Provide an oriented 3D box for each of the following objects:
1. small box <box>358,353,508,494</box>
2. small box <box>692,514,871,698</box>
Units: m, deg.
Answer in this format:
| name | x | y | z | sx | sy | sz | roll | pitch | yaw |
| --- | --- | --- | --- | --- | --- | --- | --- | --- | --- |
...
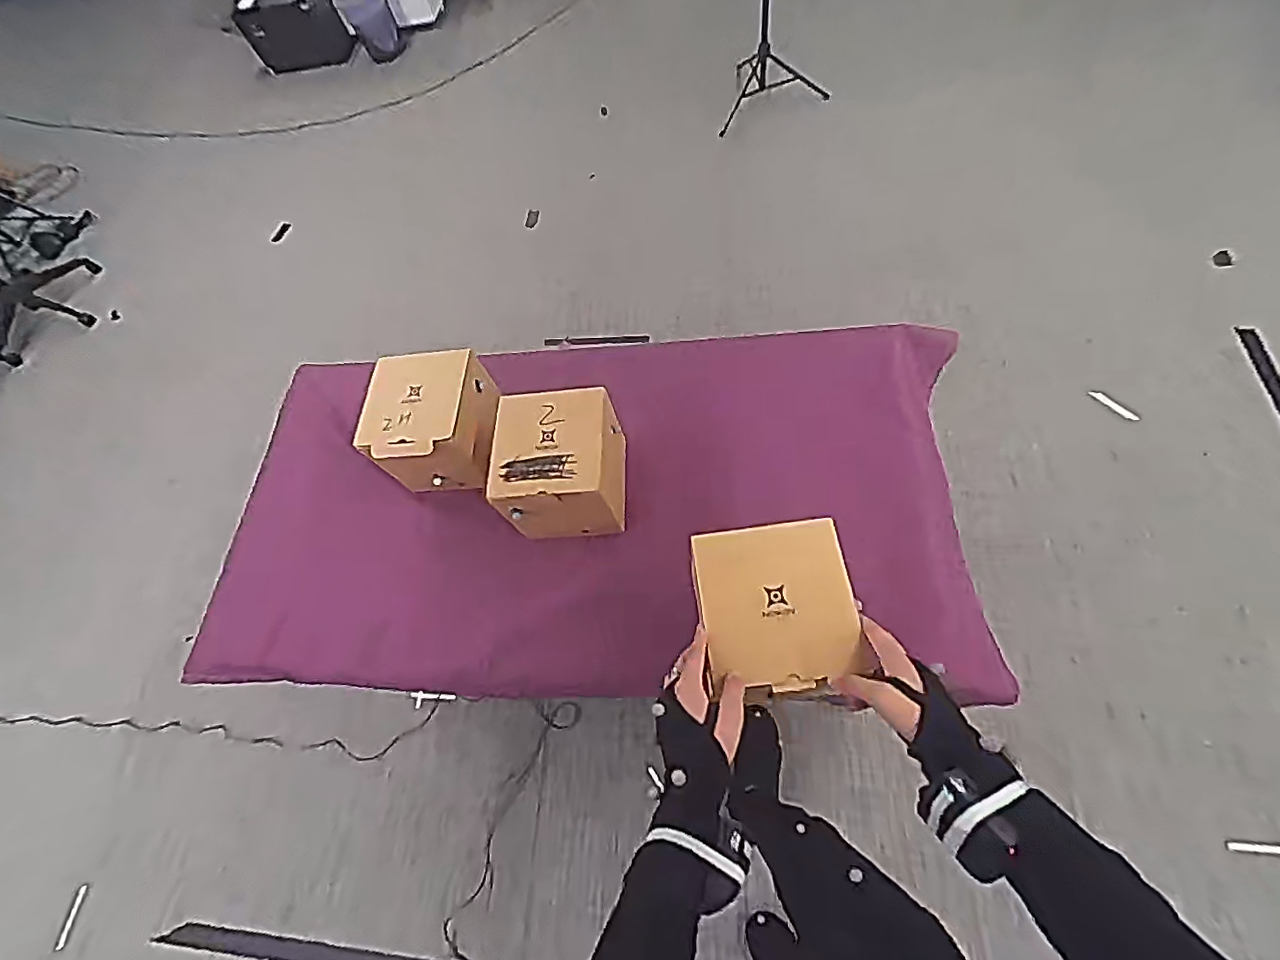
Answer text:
| name | x | y | z | sx | sy | sz | roll | pitch | yaw |
| --- | --- | --- | --- | --- | --- | --- | --- | --- | --- |
| small box | -0.339 | -0.091 | 0.924 | 0.168 | 0.176 | 0.179 | -3 | 64 | 9 |
| small box | 0.156 | 0.161 | 0.663 | 0.168 | 0.176 | 0.179 | -8 | 64 | 3 |
